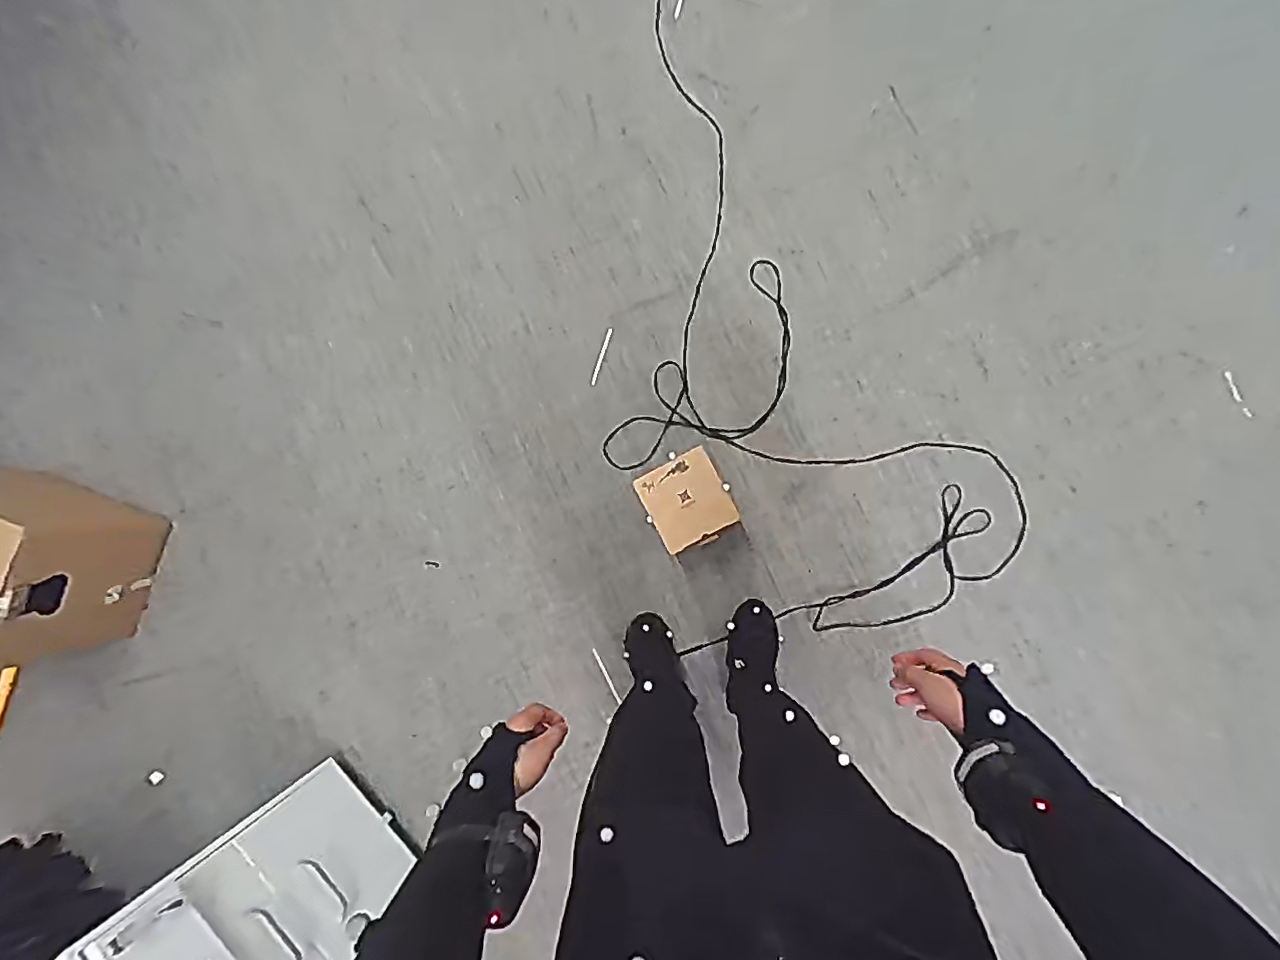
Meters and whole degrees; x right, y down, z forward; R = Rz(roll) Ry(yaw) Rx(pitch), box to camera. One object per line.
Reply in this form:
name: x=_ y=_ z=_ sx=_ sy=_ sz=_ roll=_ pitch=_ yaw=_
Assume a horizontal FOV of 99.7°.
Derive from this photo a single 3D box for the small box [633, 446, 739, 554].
small box: x=0.100 y=0.040 z=1.185 sx=0.168 sy=0.176 sz=0.179 roll=-28 pitch=87 yaw=3
